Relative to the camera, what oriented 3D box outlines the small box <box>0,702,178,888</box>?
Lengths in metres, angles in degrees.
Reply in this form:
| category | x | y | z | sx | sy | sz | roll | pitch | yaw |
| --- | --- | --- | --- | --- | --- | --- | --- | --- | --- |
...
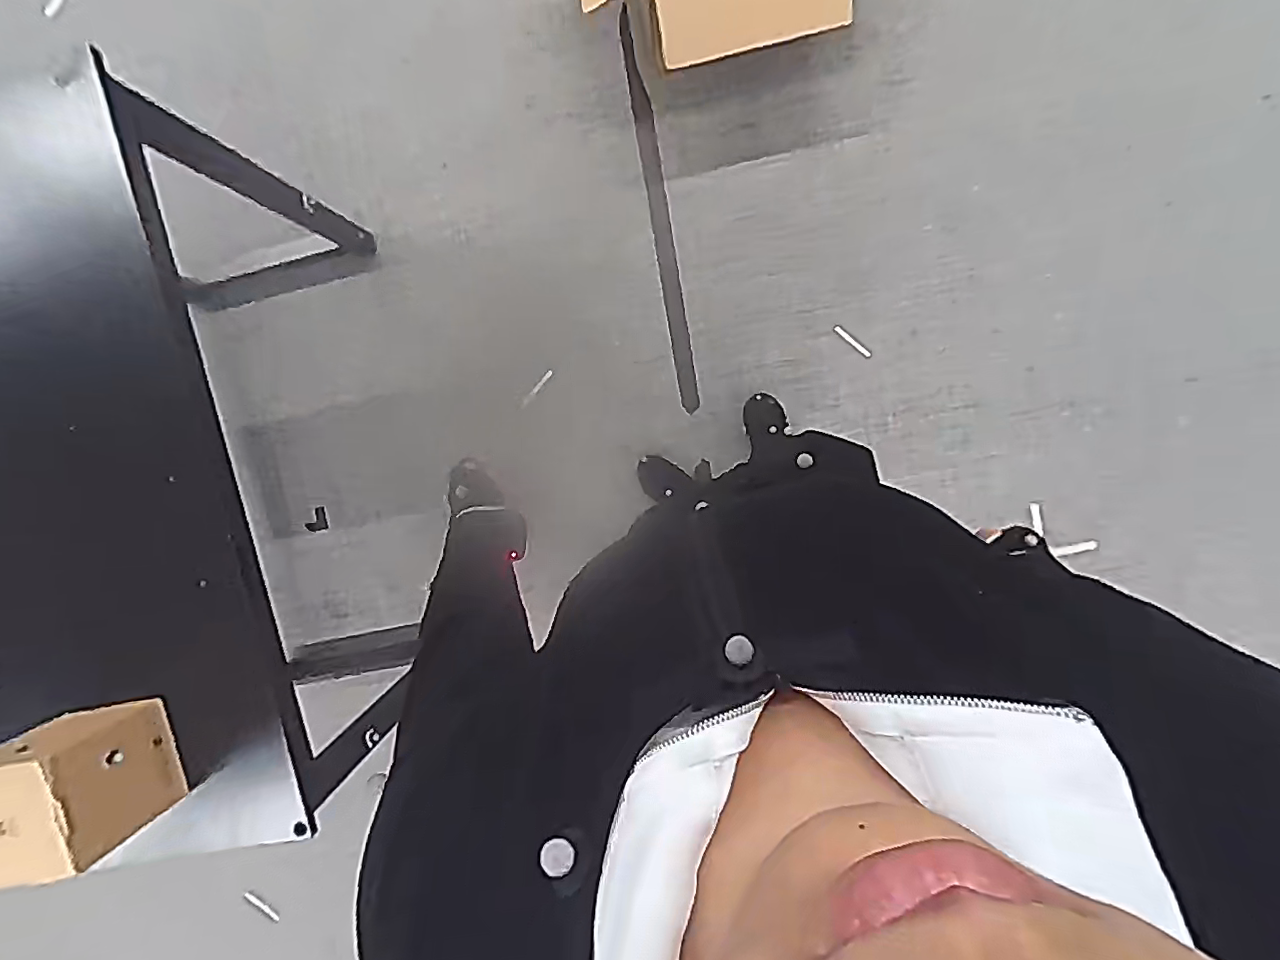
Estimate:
| category | x | y | z | sx | sy | sz | roll | pitch | yaw |
| --- | --- | --- | --- | --- | --- | --- | --- | --- | --- |
| small box | -0.826 | 0.447 | 0.787 | 0.179 | 0.176 | 0.168 | -12 | 94 | 6 |
